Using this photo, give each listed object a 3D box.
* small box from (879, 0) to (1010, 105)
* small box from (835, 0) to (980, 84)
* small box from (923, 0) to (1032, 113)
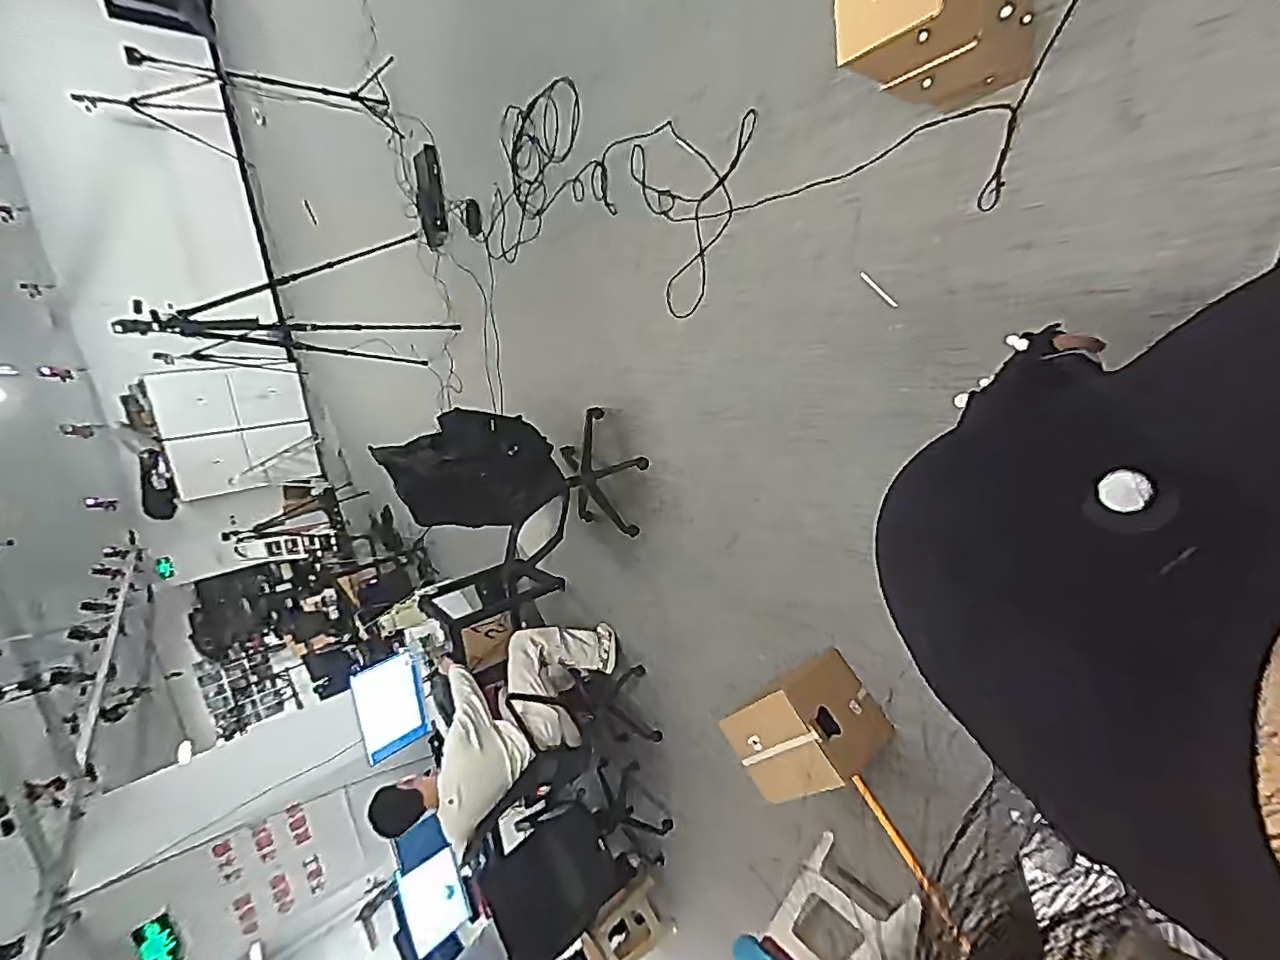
[{"bbox_3d":[0.582,-0.858,1.039,0.179,0.176,0.168,7,109,49],"label":"small box"},{"bbox_3d":[0.461,-0.826,0.935,0.179,0.176,0.168,5,108,50],"label":"small box"},{"bbox_3d":[0.701,-0.913,1.138,0.179,0.176,0.168,2,104,51],"label":"small box"}]
